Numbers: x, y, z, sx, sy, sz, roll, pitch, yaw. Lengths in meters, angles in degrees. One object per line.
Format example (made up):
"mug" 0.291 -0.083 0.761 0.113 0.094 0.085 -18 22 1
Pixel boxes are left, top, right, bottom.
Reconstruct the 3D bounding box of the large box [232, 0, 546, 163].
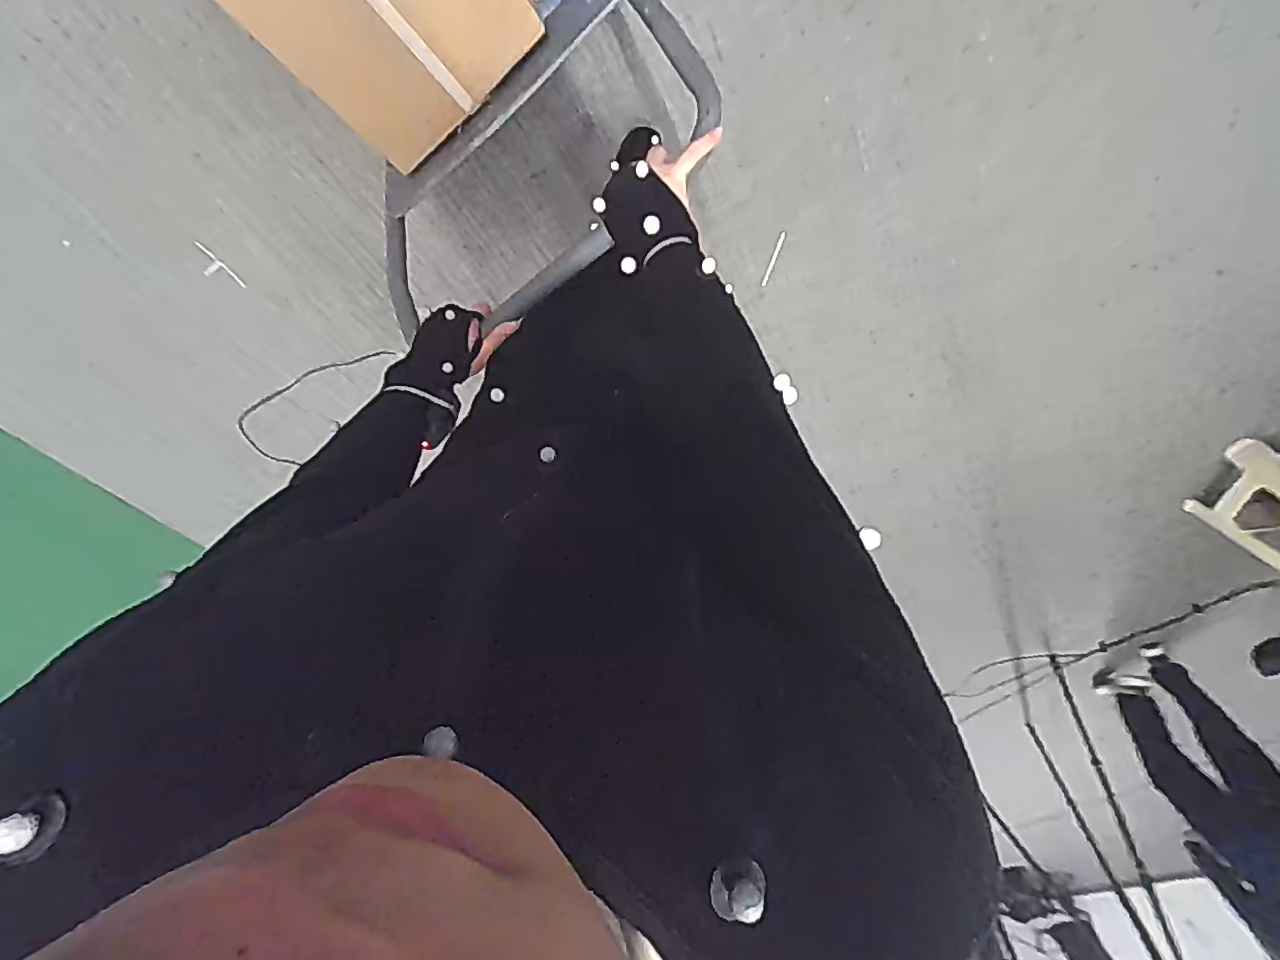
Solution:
"large box" -0.392 -0.779 0.775 0.320 0.320 0.408 -31 141 21
